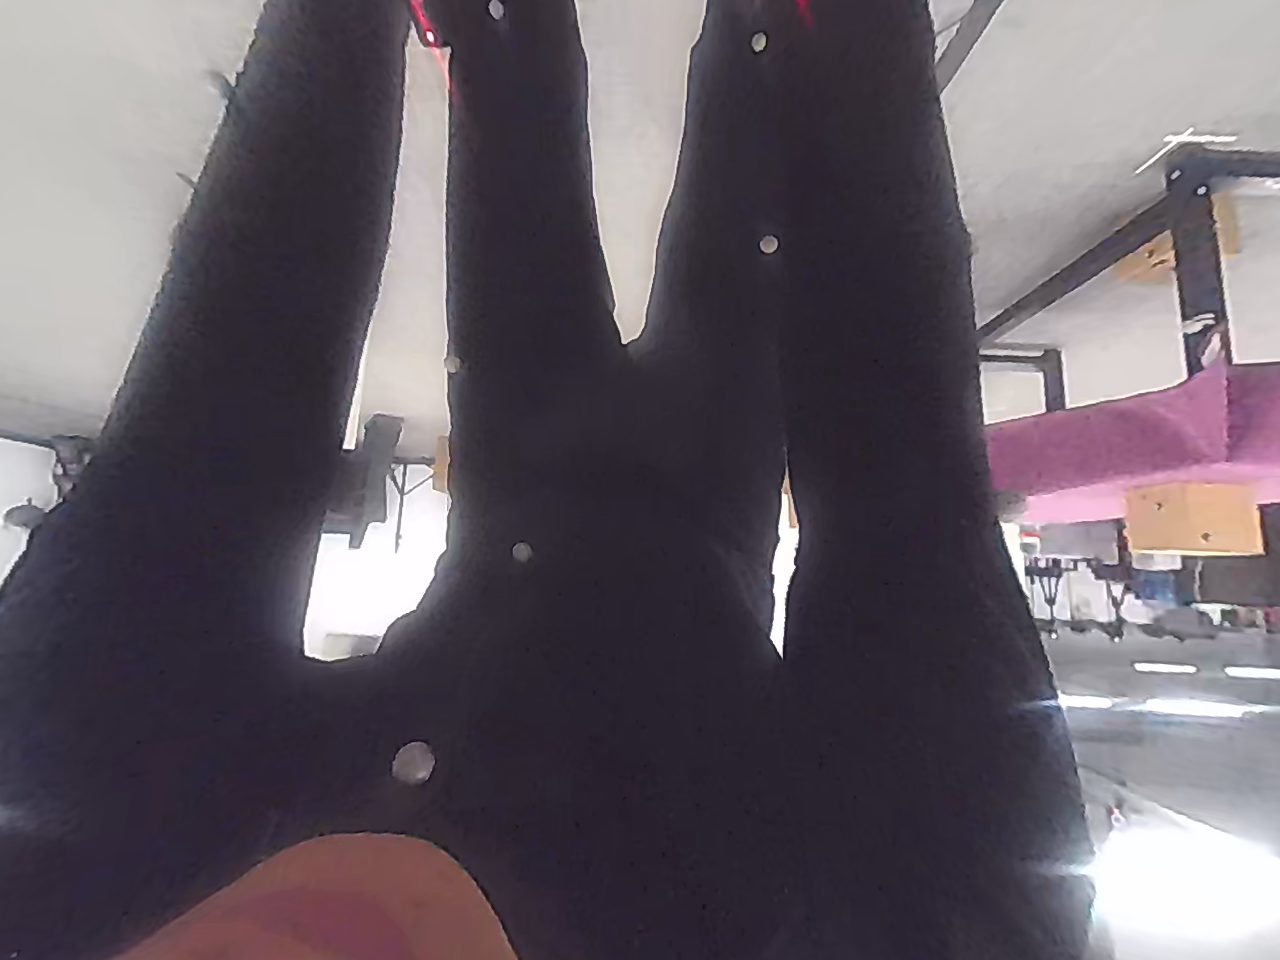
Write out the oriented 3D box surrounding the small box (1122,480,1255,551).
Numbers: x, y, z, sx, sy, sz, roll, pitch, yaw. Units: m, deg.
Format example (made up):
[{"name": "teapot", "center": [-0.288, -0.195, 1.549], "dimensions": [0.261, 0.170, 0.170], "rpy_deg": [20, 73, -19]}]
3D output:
[{"name": "small box", "center": [1.386, 0.093, 1.376], "dimensions": [0.179, 0.176, 0.168], "rpy_deg": [3, 172, 1]}]
